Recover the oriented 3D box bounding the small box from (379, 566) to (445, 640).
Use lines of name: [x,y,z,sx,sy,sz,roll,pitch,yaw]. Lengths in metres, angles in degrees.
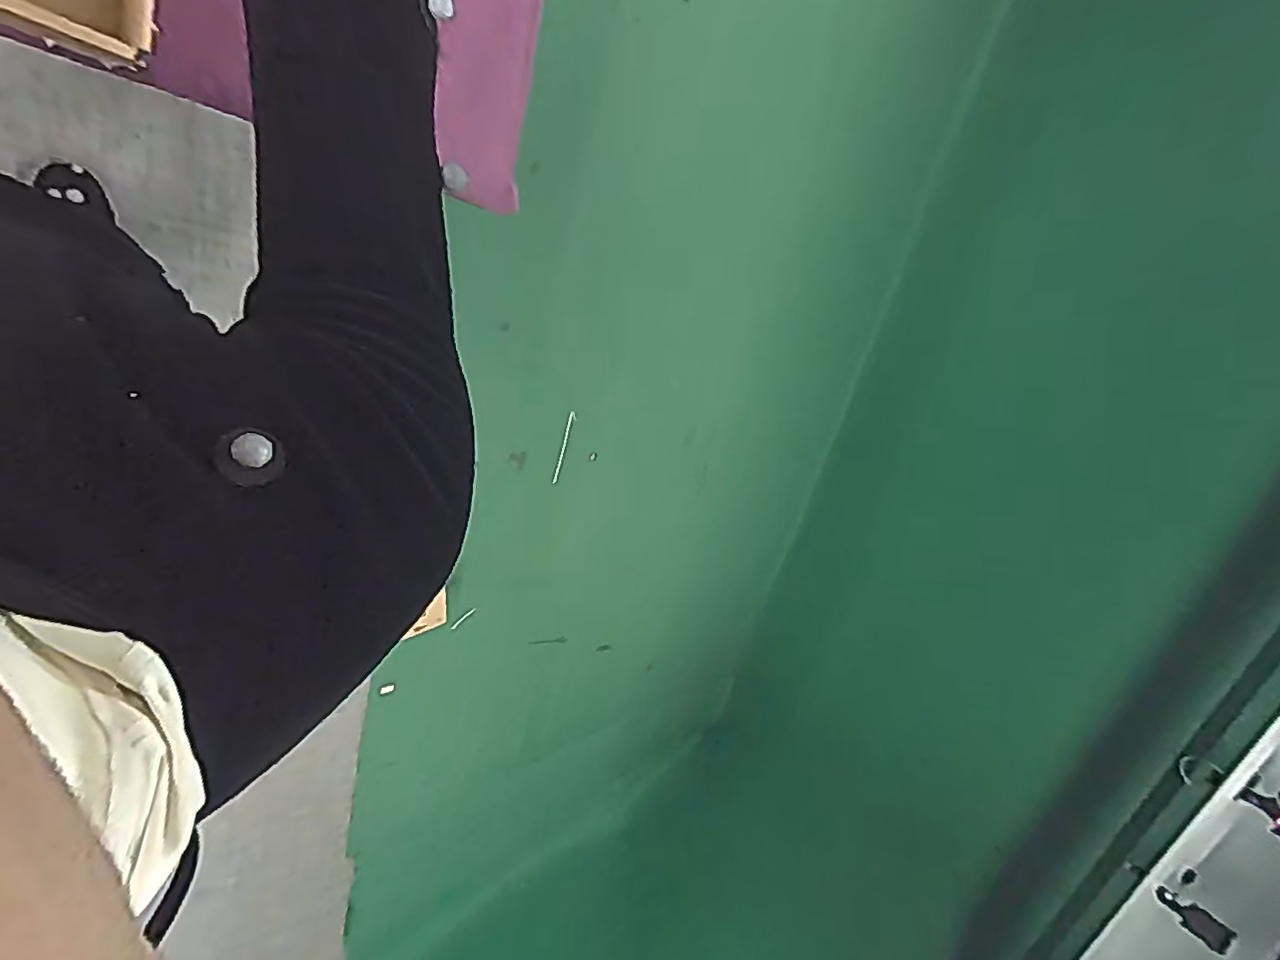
small box: [-0.811,0.424,1.917,0.168,0.176,0.179,-17,125,-41]
